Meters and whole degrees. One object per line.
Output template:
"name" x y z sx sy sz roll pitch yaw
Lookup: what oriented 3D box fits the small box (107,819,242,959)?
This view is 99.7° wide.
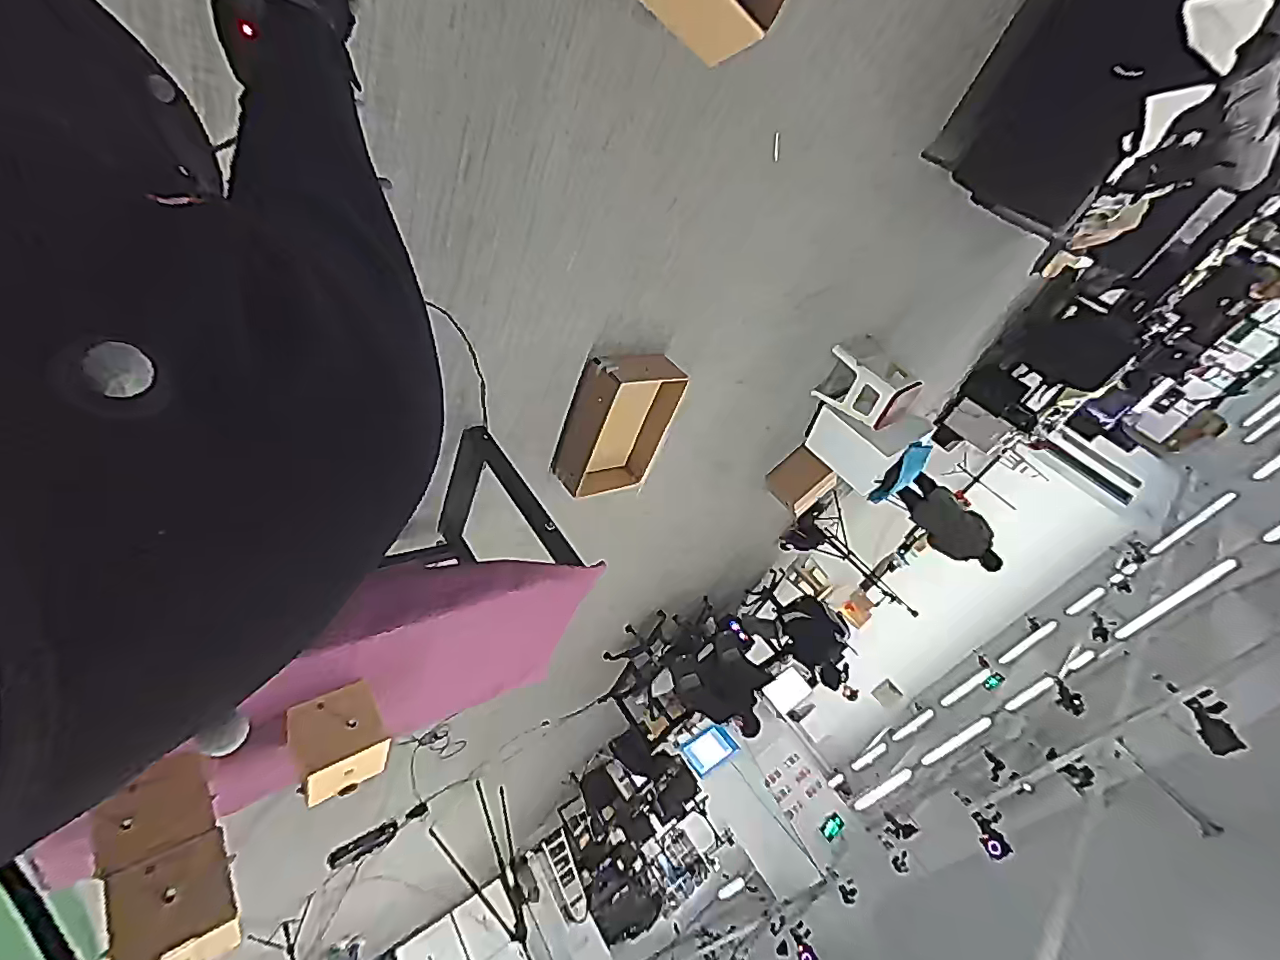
"small box" -0.848 0.765 0.992 0.168 0.176 0.179 -9 138 -43

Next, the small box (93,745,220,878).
"small box" -0.947 0.657 1.065 0.168 0.176 0.179 -10 140 -44

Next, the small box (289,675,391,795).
"small box" -0.703 0.582 1.260 0.168 0.176 0.179 -13 142 -42
